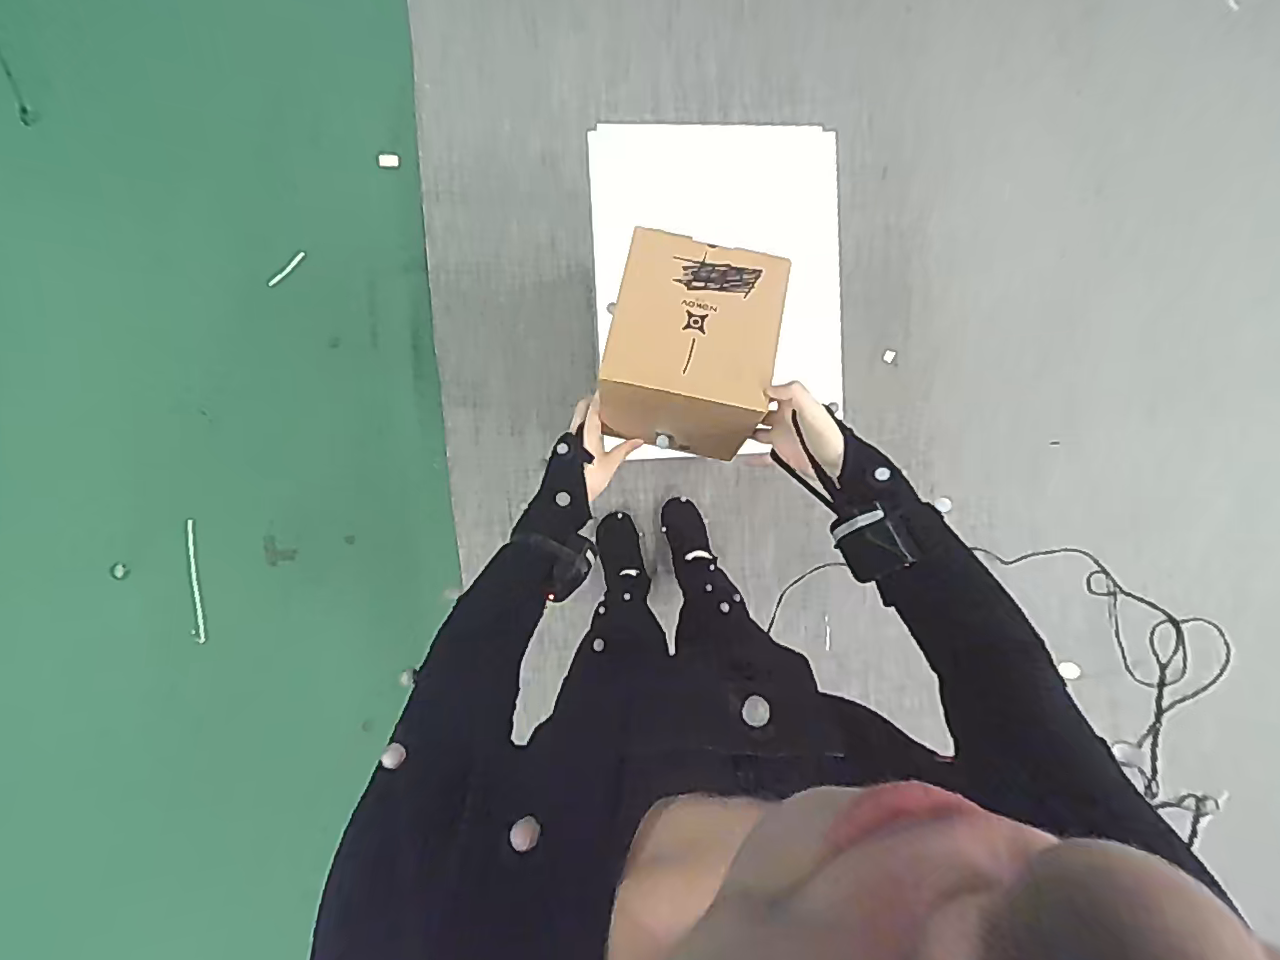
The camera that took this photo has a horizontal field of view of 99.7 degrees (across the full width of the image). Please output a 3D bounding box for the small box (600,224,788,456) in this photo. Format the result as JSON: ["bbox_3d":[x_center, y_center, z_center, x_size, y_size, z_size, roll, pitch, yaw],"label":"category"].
[{"bbox_3d":[0.053,-0.146,0.612,0.168,0.176,0.179,12,75,1],"label":"small box"}]
